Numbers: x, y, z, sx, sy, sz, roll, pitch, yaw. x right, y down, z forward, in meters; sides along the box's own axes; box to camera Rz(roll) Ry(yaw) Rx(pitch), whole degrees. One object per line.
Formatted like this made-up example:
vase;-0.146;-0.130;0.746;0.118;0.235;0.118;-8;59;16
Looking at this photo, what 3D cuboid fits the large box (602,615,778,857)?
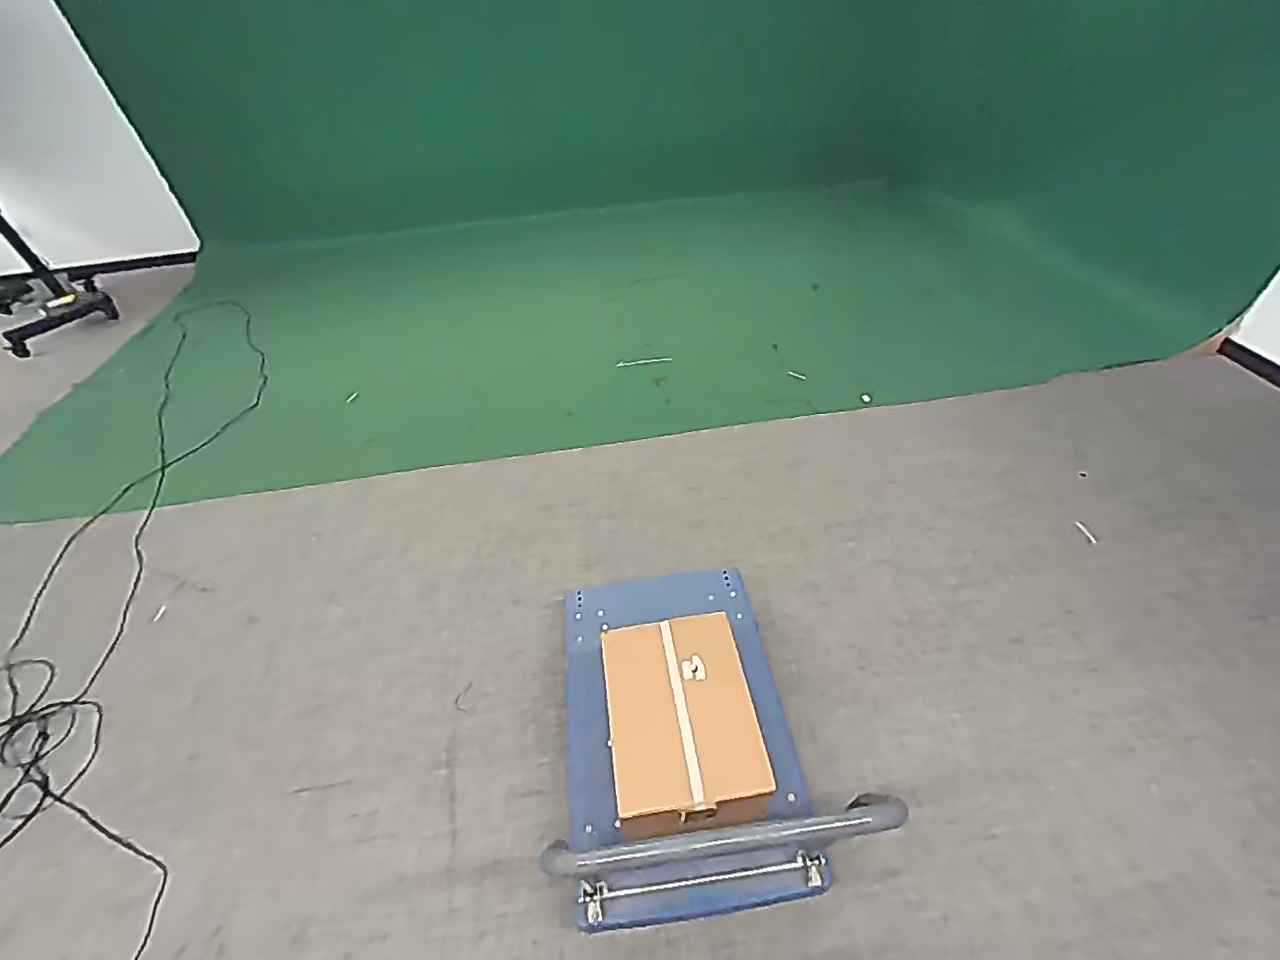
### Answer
large box;0.101;0.596;1.277;0.320;0.320;0.408;-8;44;-4
